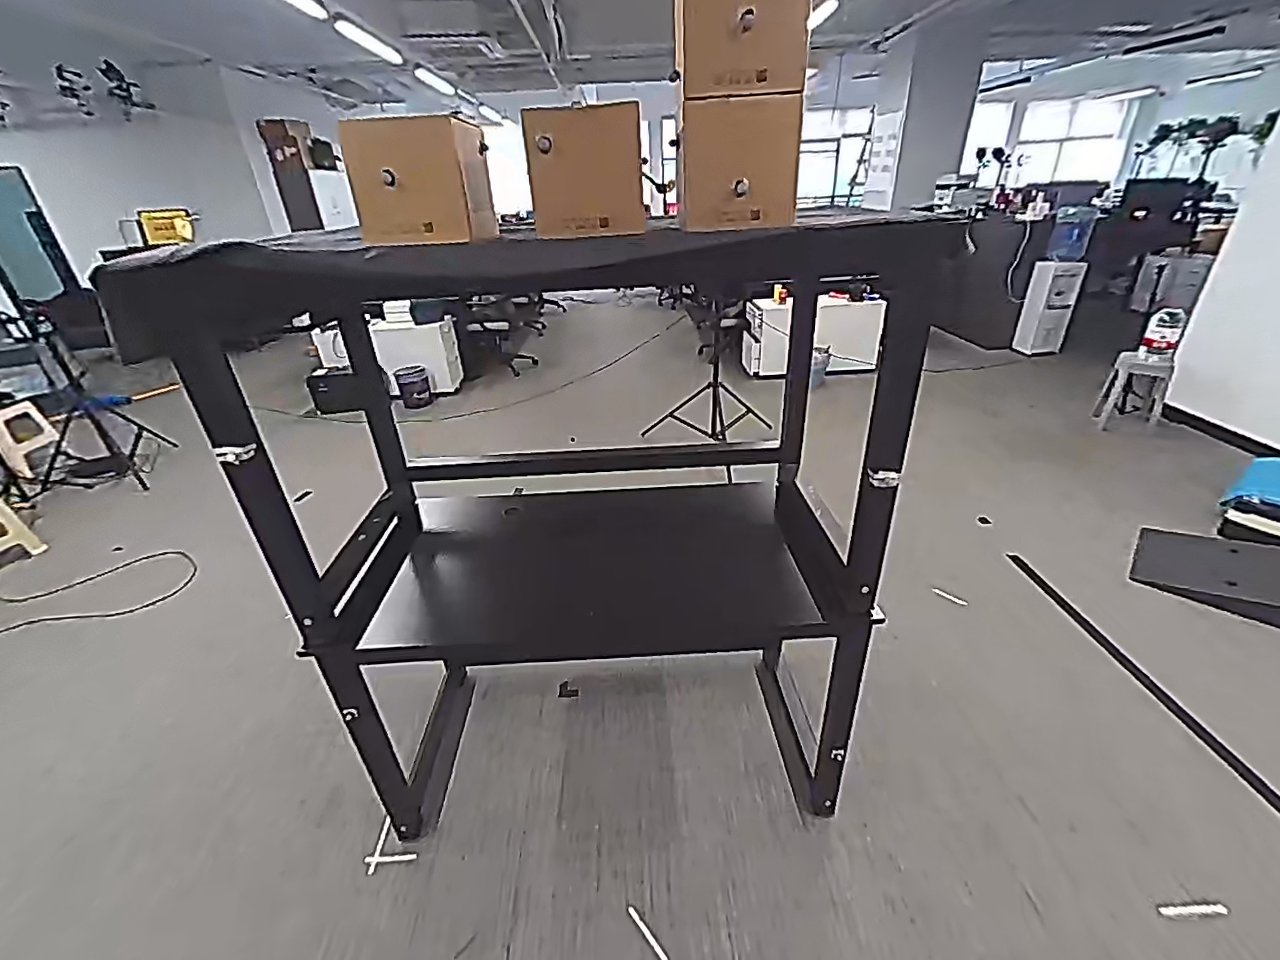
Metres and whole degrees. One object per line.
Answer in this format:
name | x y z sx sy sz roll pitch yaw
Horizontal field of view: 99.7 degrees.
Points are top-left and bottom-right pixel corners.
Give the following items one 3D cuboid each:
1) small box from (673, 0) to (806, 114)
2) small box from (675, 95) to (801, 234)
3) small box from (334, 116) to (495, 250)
small box | 0.134 -0.625 0.765 0.168 0.176 0.179 -2 28 1
small box | 0.141 -0.479 0.841 0.168 0.176 0.179 -4 28 1
small box | -0.339 -0.460 0.857 0.168 0.176 0.179 -2 27 2
